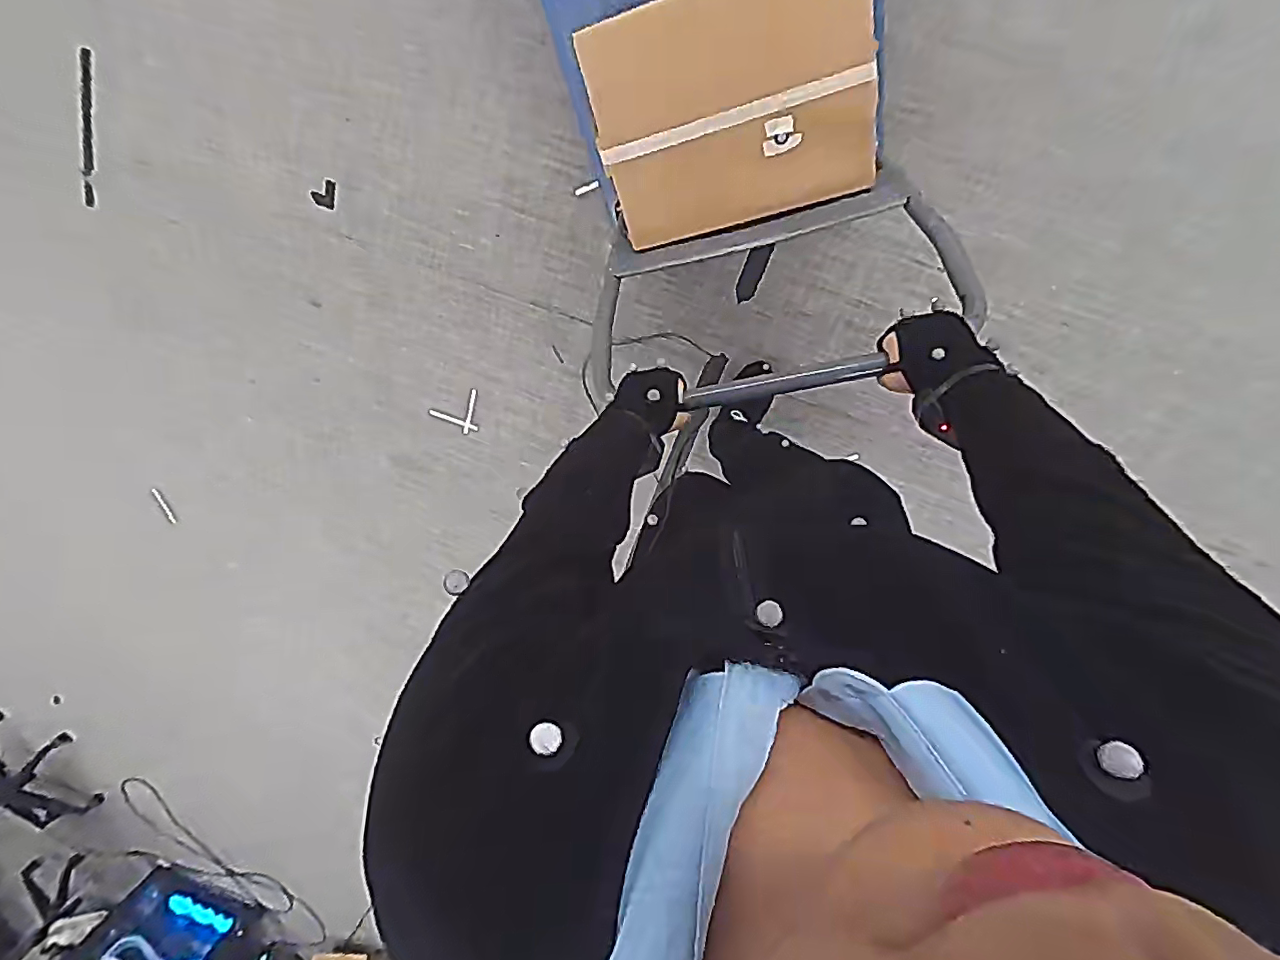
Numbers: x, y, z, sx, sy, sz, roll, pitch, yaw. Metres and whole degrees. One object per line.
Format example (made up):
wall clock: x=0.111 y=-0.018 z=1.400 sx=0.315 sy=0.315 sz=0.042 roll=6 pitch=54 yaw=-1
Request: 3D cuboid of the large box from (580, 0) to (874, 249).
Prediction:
large box: x=0.151 y=-0.656 z=0.938 sx=0.408 sy=0.320 sz=0.320 roll=-11 pitch=130 yaw=13
